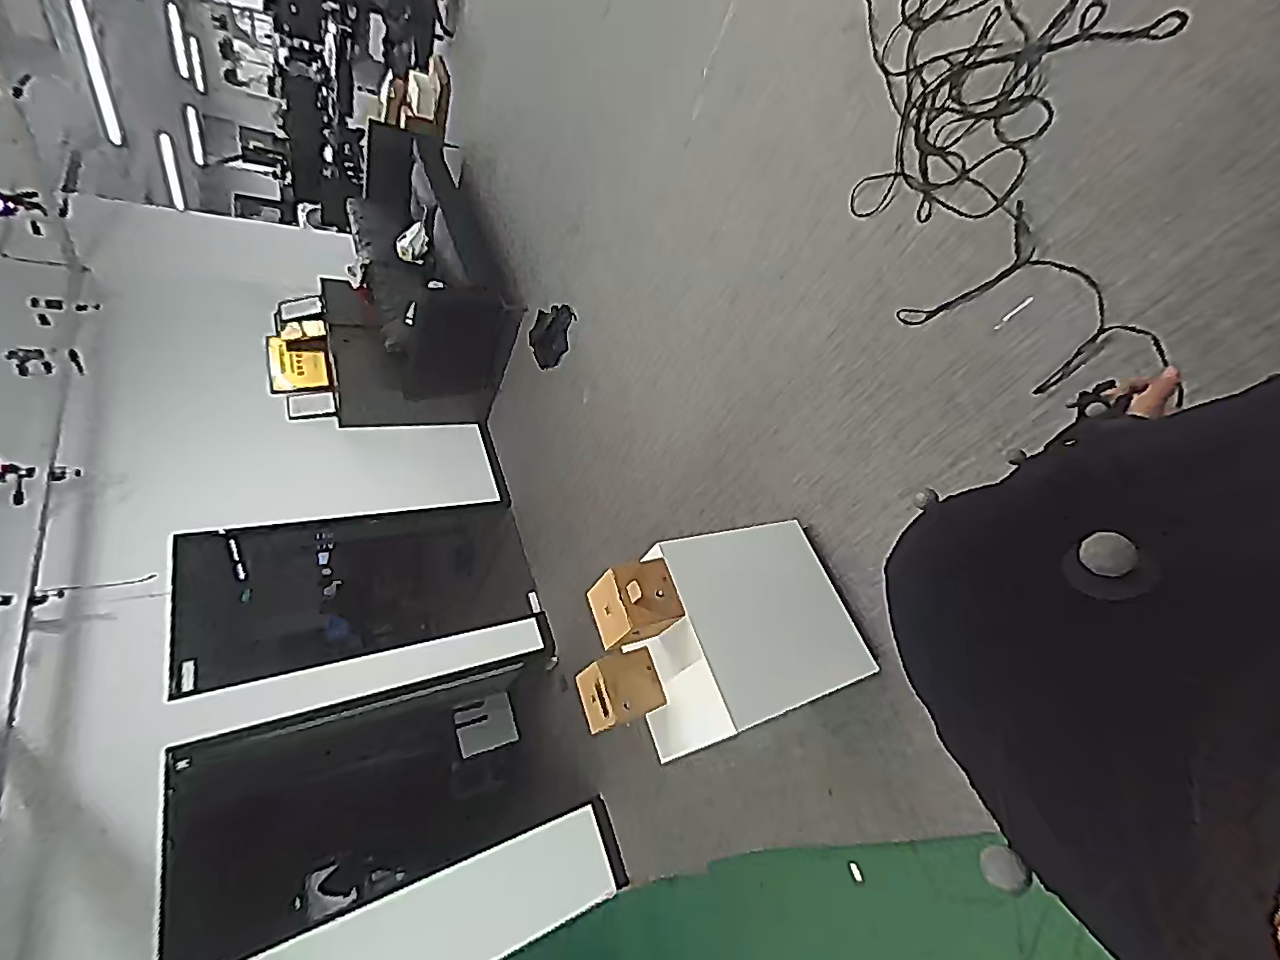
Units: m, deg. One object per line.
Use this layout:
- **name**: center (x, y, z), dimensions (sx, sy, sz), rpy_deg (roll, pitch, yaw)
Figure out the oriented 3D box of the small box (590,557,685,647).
- **small box**: center (-0.007, 0.321, 1.430), dimensions (0.179, 0.176, 0.168), rpy_deg (-53, 51, 47)
